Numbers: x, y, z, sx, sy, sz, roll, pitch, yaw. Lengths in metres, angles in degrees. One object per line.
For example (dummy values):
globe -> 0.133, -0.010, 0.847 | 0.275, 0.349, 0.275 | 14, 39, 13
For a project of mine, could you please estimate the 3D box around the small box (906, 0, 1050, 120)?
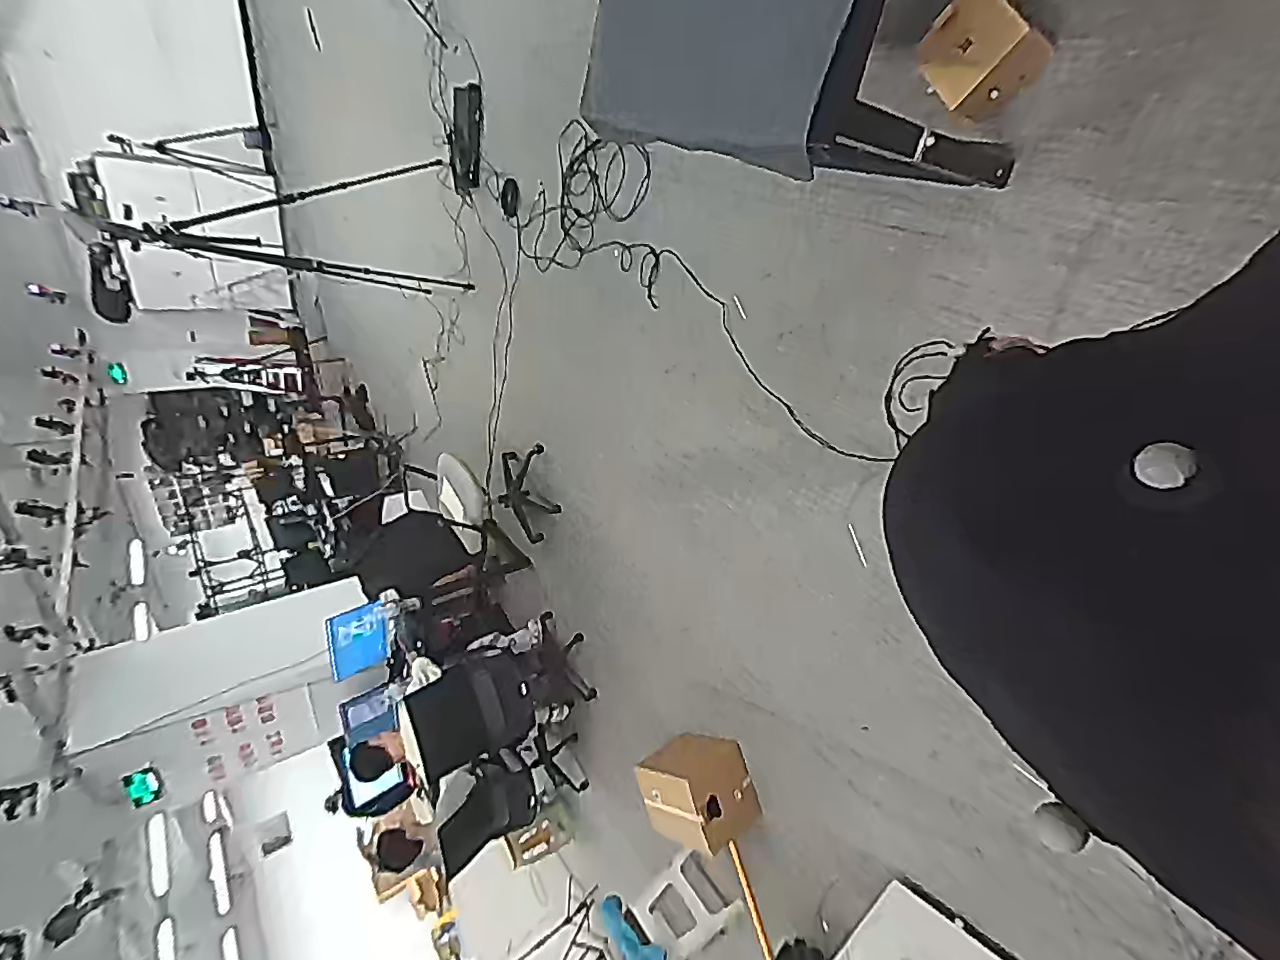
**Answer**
small box -> 0.716, -0.900, 1.144 | 0.168, 0.176, 0.179 | -44, 67, 49
